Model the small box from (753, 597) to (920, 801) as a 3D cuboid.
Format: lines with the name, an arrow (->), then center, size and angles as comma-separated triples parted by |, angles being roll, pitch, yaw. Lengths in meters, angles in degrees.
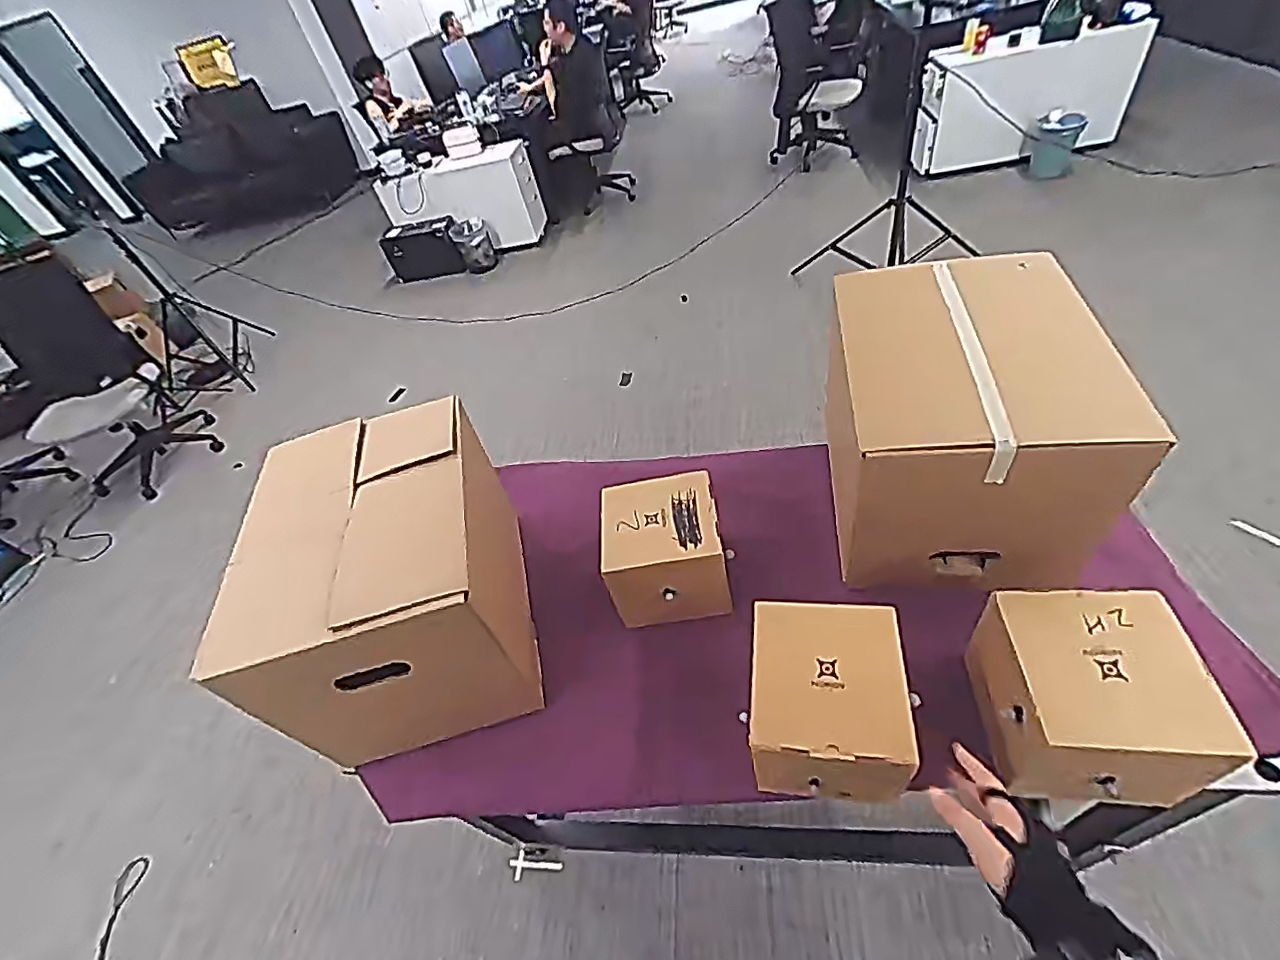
small box -> 0.226, 0.265, 0.662 | 0.168, 0.176, 0.179 | -1, 48, 15

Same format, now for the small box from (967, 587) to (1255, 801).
small box -> 0.494, 0.239, 0.607 | 0.168, 0.176, 0.179 | -3, 45, 14
